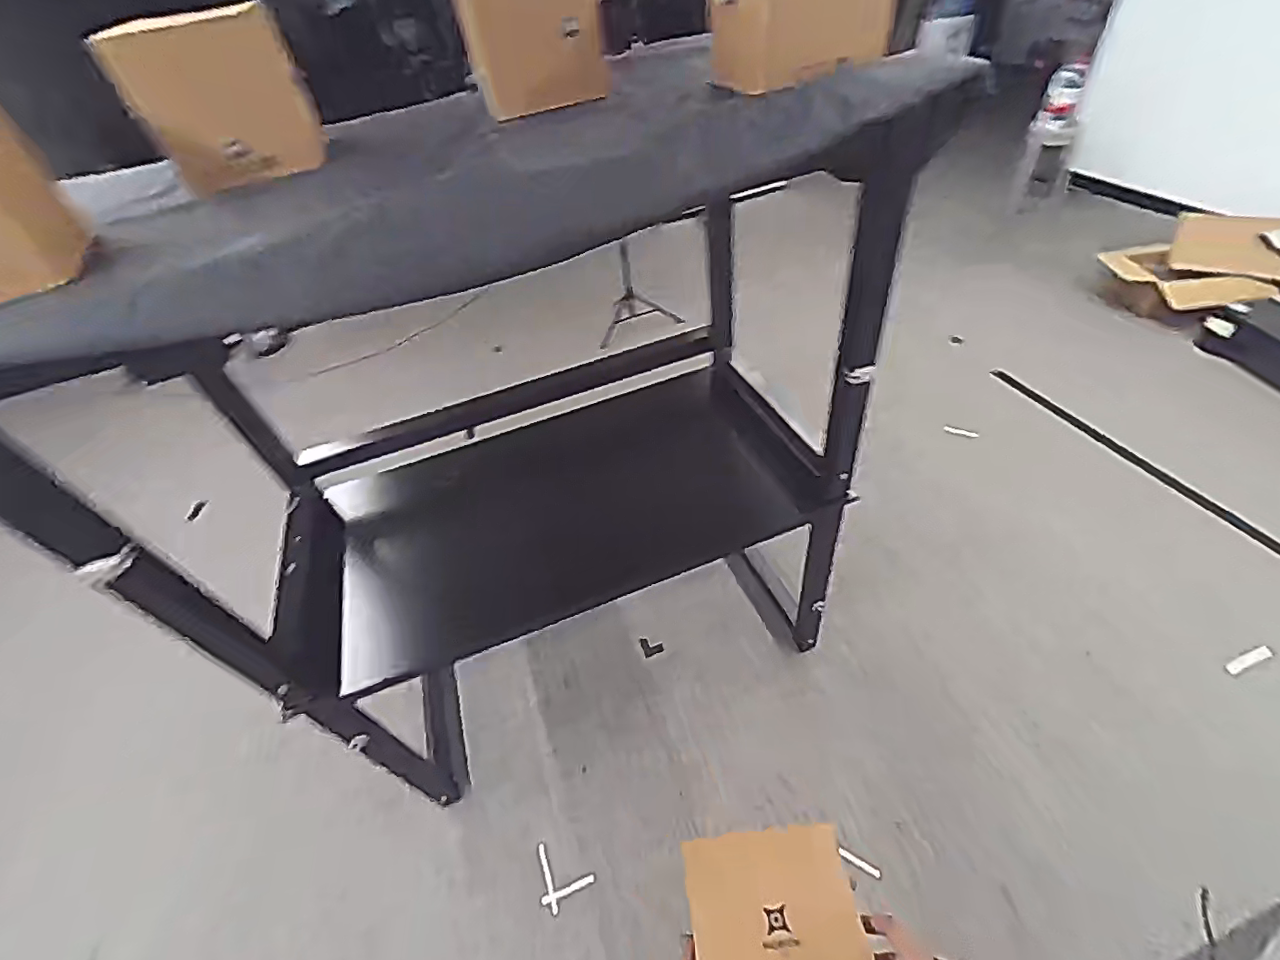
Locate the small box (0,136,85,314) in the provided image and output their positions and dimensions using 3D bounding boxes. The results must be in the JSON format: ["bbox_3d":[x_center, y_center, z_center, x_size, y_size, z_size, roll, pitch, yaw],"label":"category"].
[{"bbox_3d":[-0.690,-0.254,0.509,0.168,0.176,0.179,-27,49,-16],"label":"small box"}]

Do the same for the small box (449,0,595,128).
[{"bbox_3d":[-0.173,-0.649,0.801,0.179,0.176,0.168,-19,45,-8],"label":"small box"}]

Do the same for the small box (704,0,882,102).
[{"bbox_3d":[0.184,-0.598,0.681,0.168,0.176,0.179,-18,45,-6],"label":"small box"}]

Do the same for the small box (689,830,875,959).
[{"bbox_3d":[0.142,0.502,0.566,0.168,0.176,0.179,-6,38,1],"label":"small box"}]
